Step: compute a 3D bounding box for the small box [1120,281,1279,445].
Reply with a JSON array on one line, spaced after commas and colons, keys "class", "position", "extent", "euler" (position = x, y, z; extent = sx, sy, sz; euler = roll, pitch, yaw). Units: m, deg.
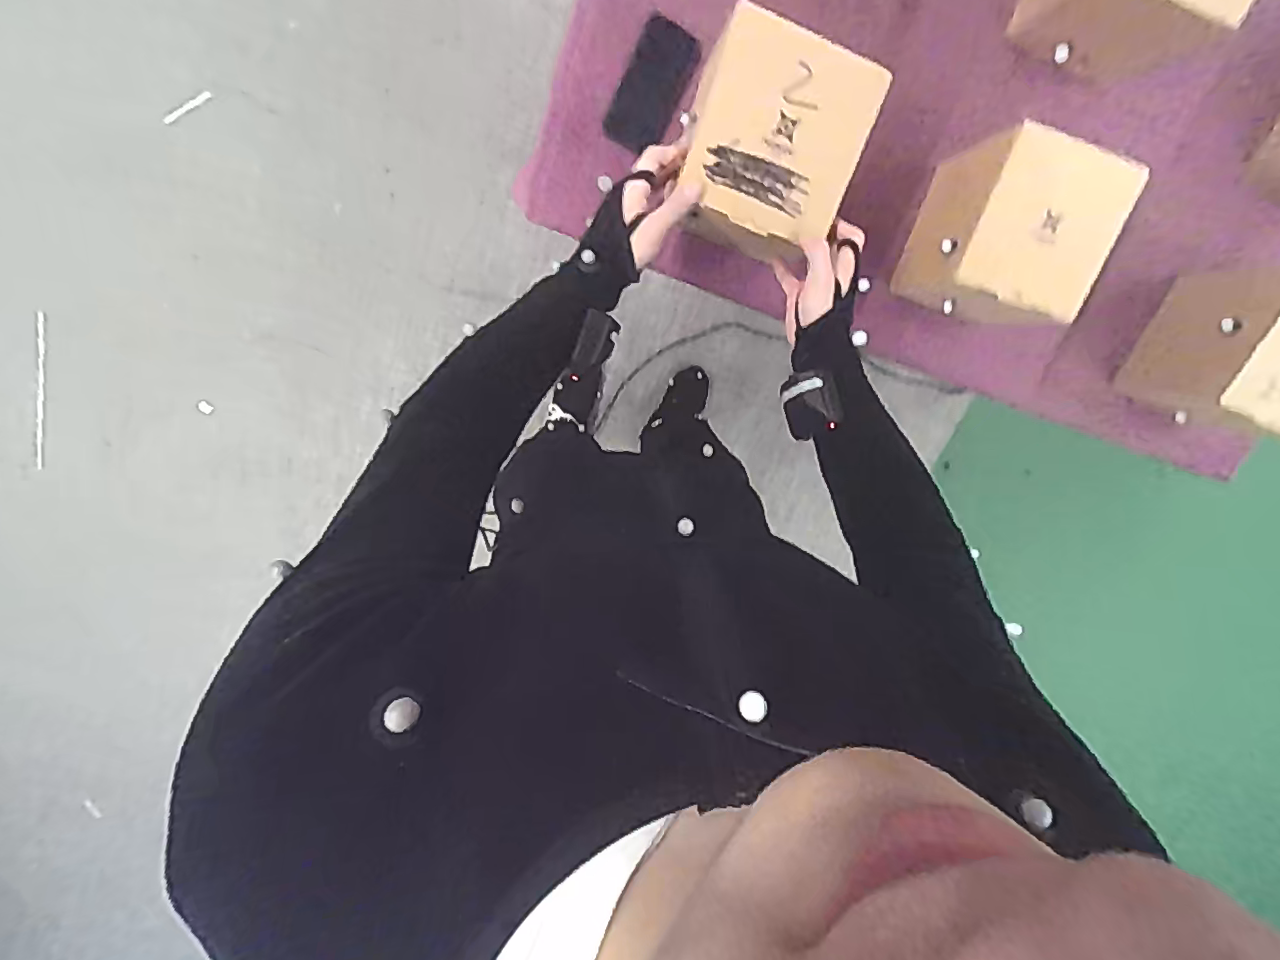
[{"class": "small box", "position": [0.838, -0.165, 0.749], "extent": [0.168, 0.176, 0.179], "euler": [21, 106, -6]}]

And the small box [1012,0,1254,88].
[{"class": "small box", "position": [0.577, -0.598, 0.613], "extent": [0.168, 0.176, 0.179], "euler": [18, 106, -6]}]

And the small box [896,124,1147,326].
[{"class": "small box", "position": [0.468, -0.311, 0.699], "extent": [0.168, 0.176, 0.179], "euler": [16, 106, -7]}]
